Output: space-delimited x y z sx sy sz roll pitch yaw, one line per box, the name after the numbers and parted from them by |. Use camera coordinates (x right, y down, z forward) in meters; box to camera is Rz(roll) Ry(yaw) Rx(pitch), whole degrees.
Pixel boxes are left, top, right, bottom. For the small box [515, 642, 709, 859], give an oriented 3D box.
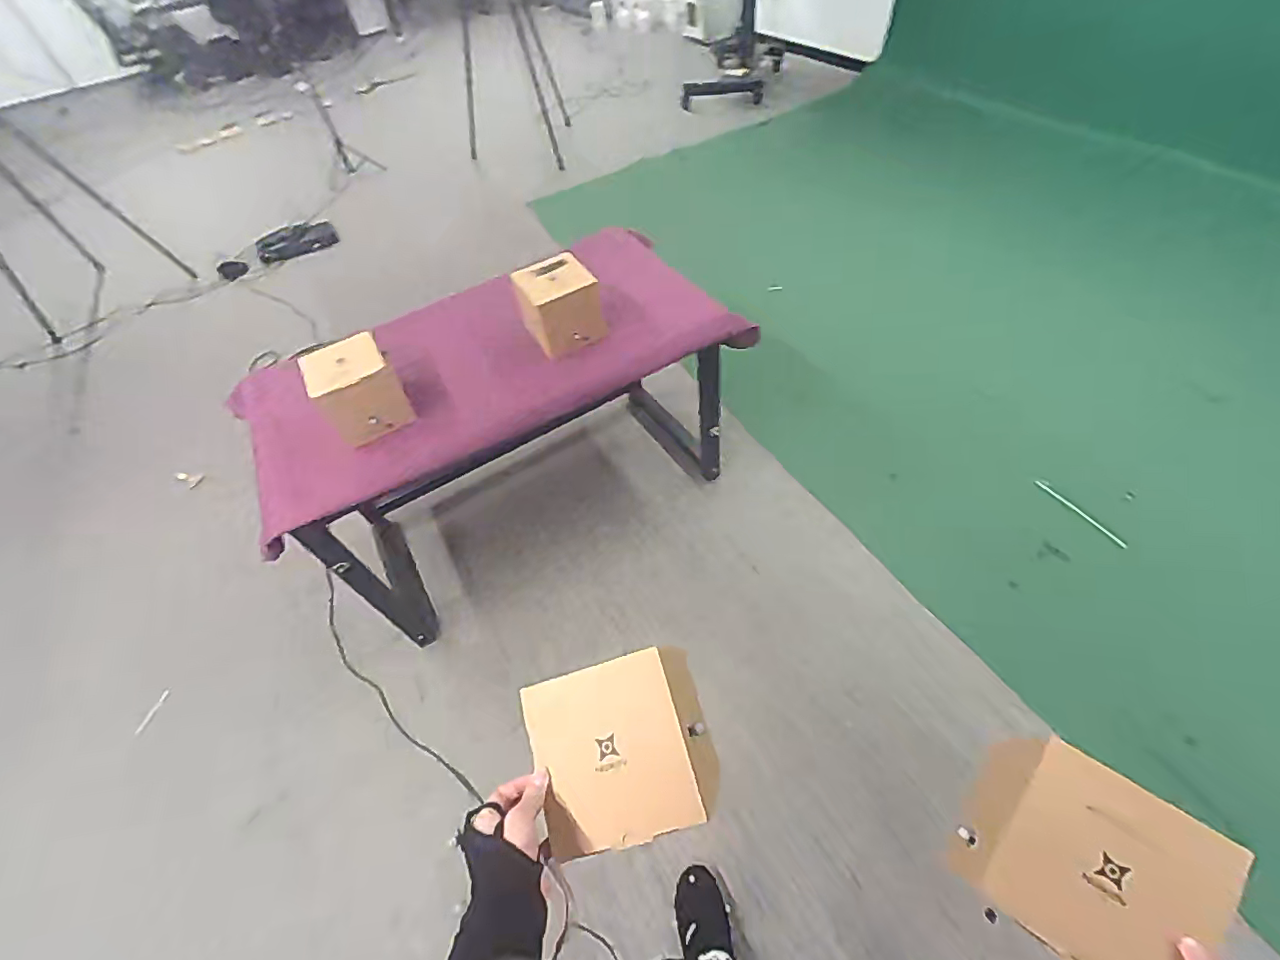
-0.025 0.303 0.642 0.168 0.176 0.179 -20 71 6 | small box

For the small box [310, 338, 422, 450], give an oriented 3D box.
-0.653 -0.205 1.297 0.168 0.176 0.179 -28 53 -13 | small box
